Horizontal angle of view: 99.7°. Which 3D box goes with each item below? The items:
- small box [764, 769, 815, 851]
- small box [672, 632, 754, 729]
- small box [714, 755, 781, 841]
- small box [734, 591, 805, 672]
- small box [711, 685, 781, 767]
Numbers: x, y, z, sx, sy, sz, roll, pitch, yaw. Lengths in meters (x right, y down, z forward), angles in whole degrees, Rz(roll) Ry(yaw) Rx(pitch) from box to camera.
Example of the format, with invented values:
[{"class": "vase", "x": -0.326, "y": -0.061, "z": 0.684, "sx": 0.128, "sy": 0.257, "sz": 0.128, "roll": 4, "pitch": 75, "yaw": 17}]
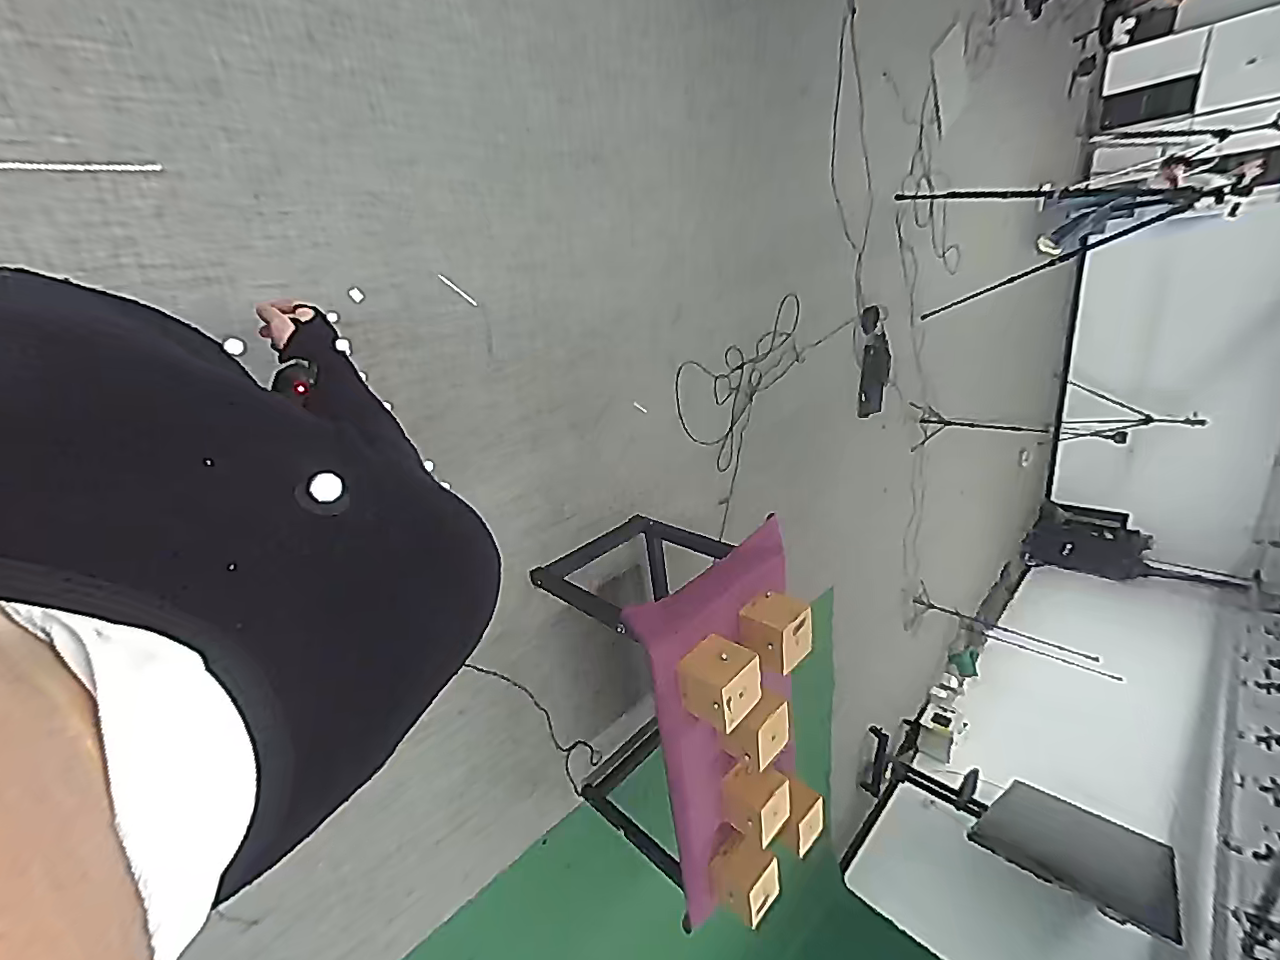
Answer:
[{"class": "small box", "x": 0.563, "y": 1.283, "z": 2.114, "sx": 0.168, "sy": 0.176, "sz": 0.179, "roll": -22, "pitch": 114, "yaw": -38}, {"class": "small box", "x": 0.215, "y": 0.577, "z": 1.583, "sx": 0.179, "sy": 0.176, "sz": 0.168, "roll": -28, "pitch": 119, "yaw": -39}, {"class": "small box", "x": 0.374, "y": 1.091, "z": 1.881, "sx": 0.168, "sy": 0.176, "sz": 0.179, "roll": -24, "pitch": 115, "yaw": -39}, {"class": "small box", "x": 0.421, "y": 0.483, "z": 1.765, "sx": 0.168, "sy": 0.176, "sz": 0.179, "roll": -24, "pitch": 118, "yaw": -38}, {"class": "small box", "x": 0.344, "y": 0.783, "z": 1.767, "sx": 0.168, "sy": 0.176, "sz": 0.179, "roll": -24, "pitch": 117, "yaw": -39}]
